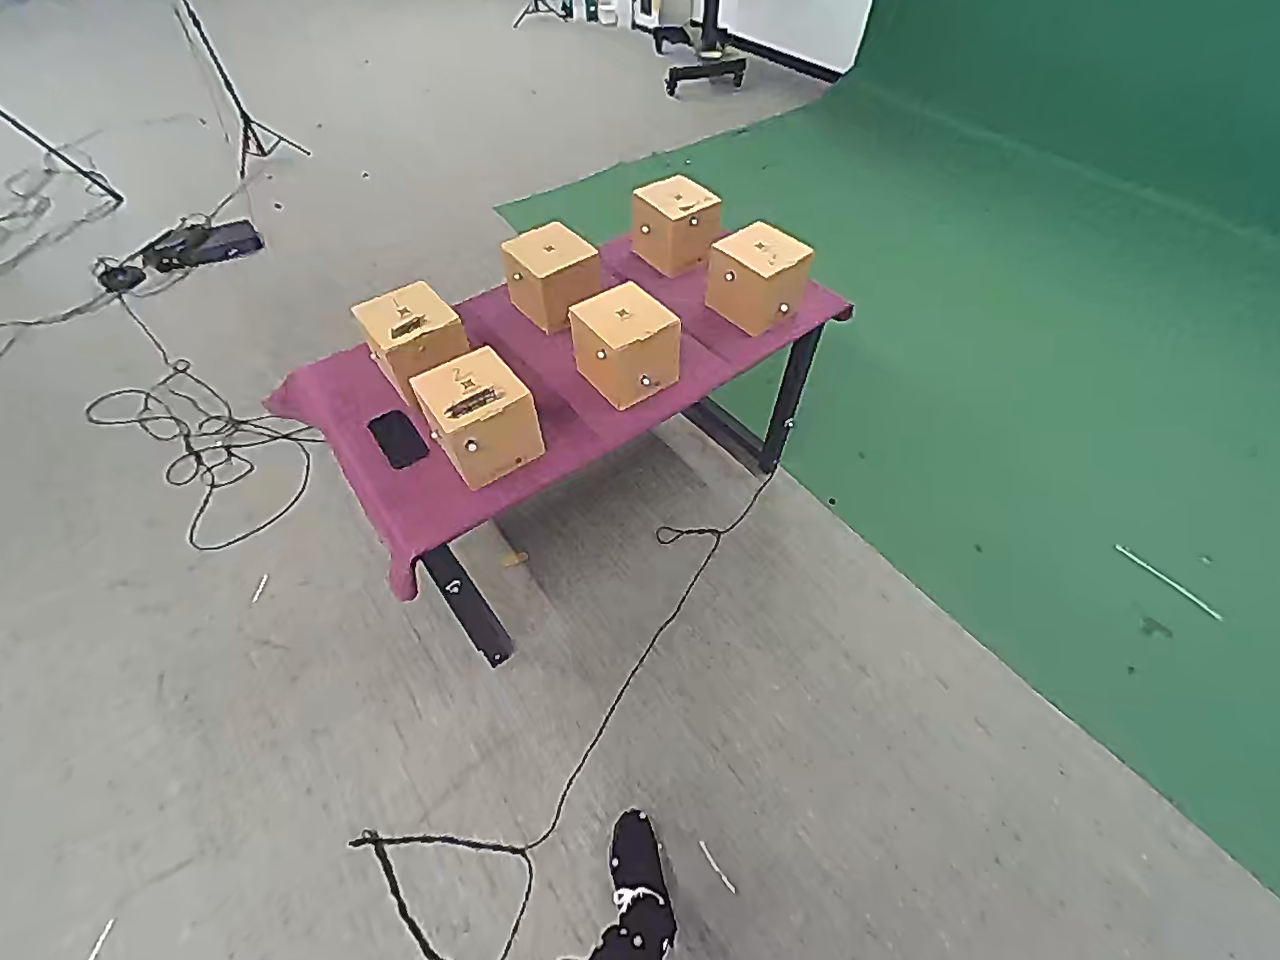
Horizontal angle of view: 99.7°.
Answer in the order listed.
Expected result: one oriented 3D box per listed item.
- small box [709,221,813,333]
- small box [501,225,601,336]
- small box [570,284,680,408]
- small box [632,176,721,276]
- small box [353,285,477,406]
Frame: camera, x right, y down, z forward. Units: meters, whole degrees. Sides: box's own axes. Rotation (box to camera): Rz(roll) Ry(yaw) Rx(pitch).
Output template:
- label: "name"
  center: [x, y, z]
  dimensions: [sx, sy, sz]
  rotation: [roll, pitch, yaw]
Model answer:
- label: "small box"
  center: [0.283, -0.489, 1.312]
  dimensions: [0.168, 0.176, 0.179]
  rotation: [-34, 61, -20]
- label: "small box"
  center: [-0.213, -0.487, 1.325]
  dimensions: [0.168, 0.176, 0.179]
  rotation: [-34, 61, -21]
- label: "small box"
  center: [-0.032, -0.289, 1.176]
  dimensions: [0.168, 0.176, 0.179]
  rotation: [-31, 58, -20]
- label: "small box"
  center: [0.094, -0.683, 1.462]
  dimensions: [0.168, 0.176, 0.179]
  rotation: [-32, 59, -20]
- label: "small box"
  center: [-0.481, -0.285, 1.179]
  dimensions: [0.168, 0.176, 0.179]
  rotation: [-33, 60, -22]
